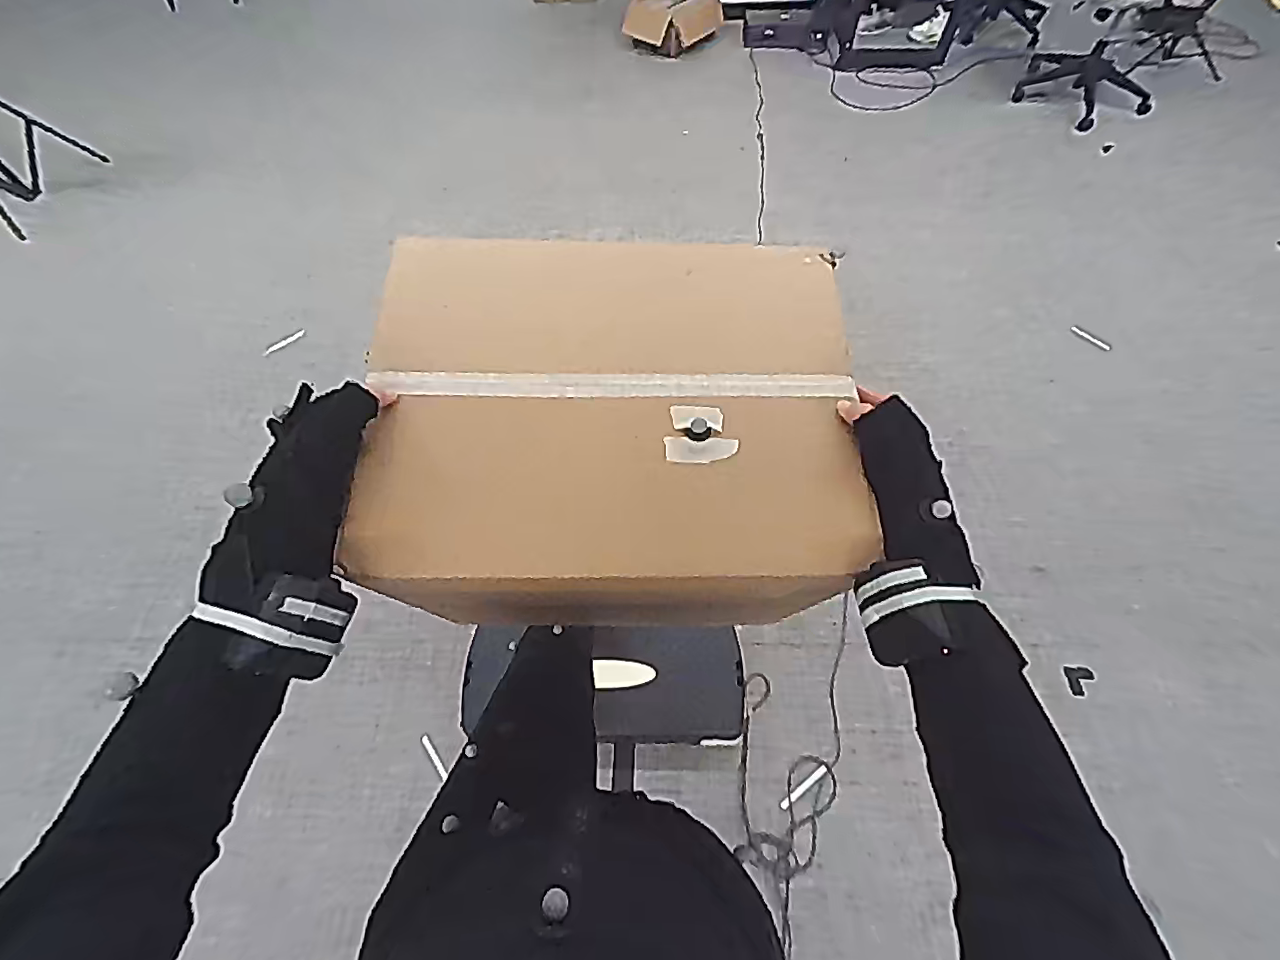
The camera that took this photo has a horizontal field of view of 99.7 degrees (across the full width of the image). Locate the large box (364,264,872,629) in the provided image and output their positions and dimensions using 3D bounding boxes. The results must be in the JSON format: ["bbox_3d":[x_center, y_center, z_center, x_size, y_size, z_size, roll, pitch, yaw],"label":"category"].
[{"bbox_3d":[-0.023,-0.012,0.610,0.408,0.320,0.320,0,68,-2],"label":"large box"}]
